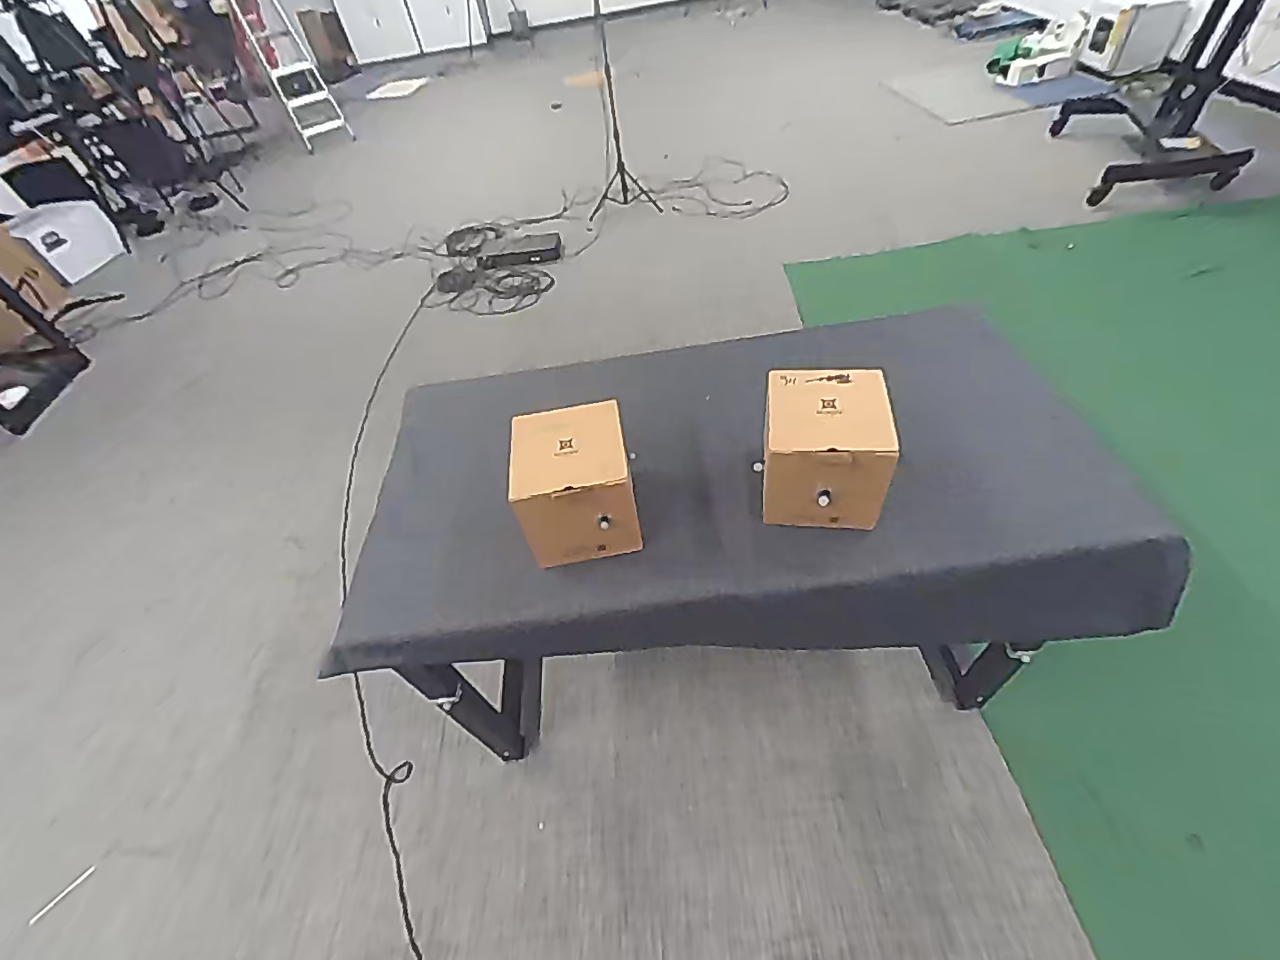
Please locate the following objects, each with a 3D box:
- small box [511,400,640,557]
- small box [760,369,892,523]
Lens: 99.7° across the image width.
[{"bbox_3d":[-0.096,0.005,0.846,0.168,0.176,0.179,-10,46,-2],"label":"small box"},{"bbox_3d":[0.274,-0.049,0.832,0.168,0.176,0.179,2,50,11],"label":"small box"}]
